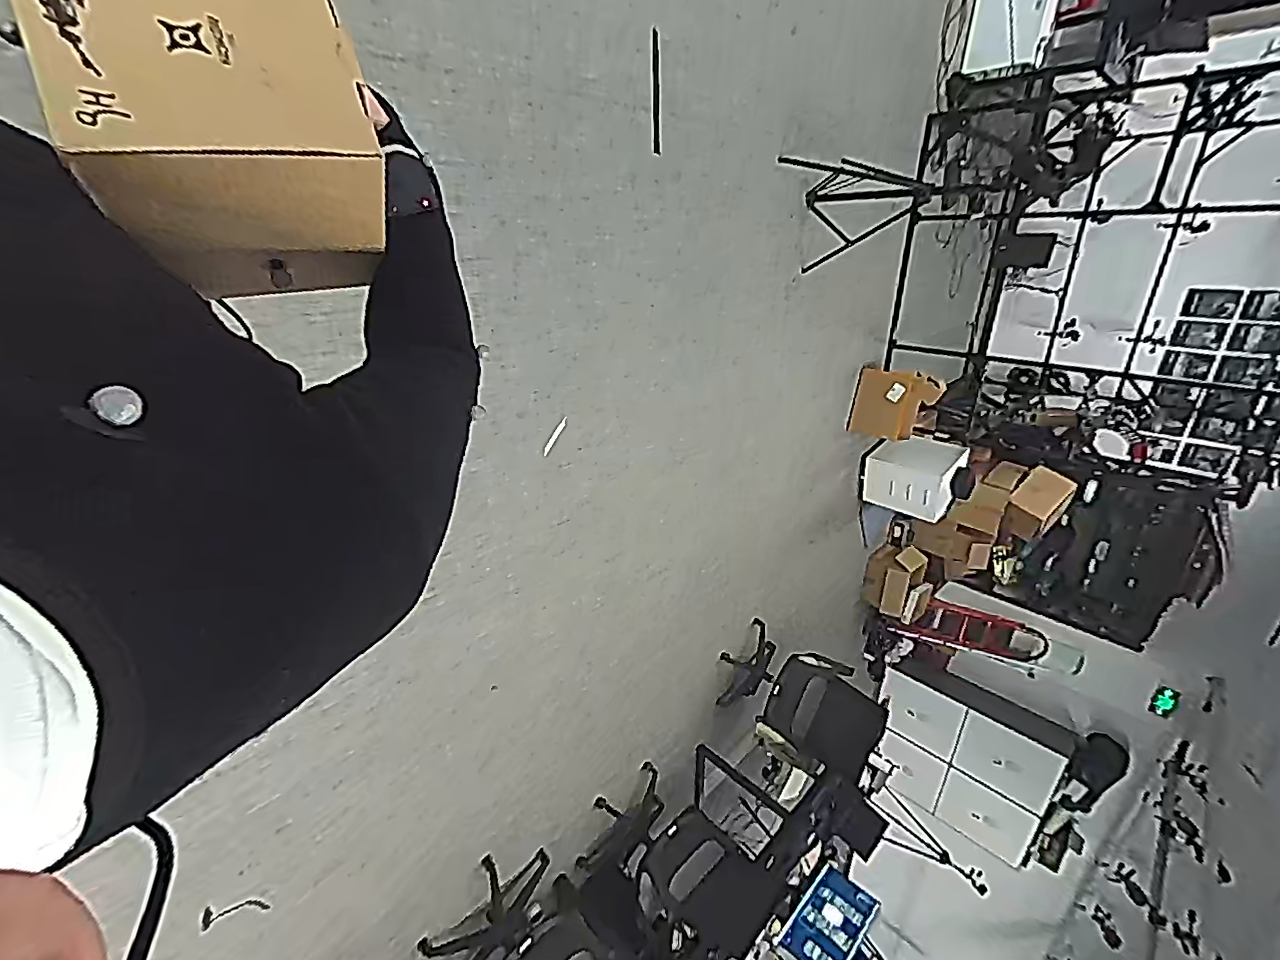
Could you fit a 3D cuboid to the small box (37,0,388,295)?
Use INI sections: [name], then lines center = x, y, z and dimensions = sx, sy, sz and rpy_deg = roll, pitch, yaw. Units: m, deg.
[small box]
center = -0.319, -0.271, 0.437
dimensions = 0.179, 0.176, 0.168
rpy_deg = -17, 84, -27
